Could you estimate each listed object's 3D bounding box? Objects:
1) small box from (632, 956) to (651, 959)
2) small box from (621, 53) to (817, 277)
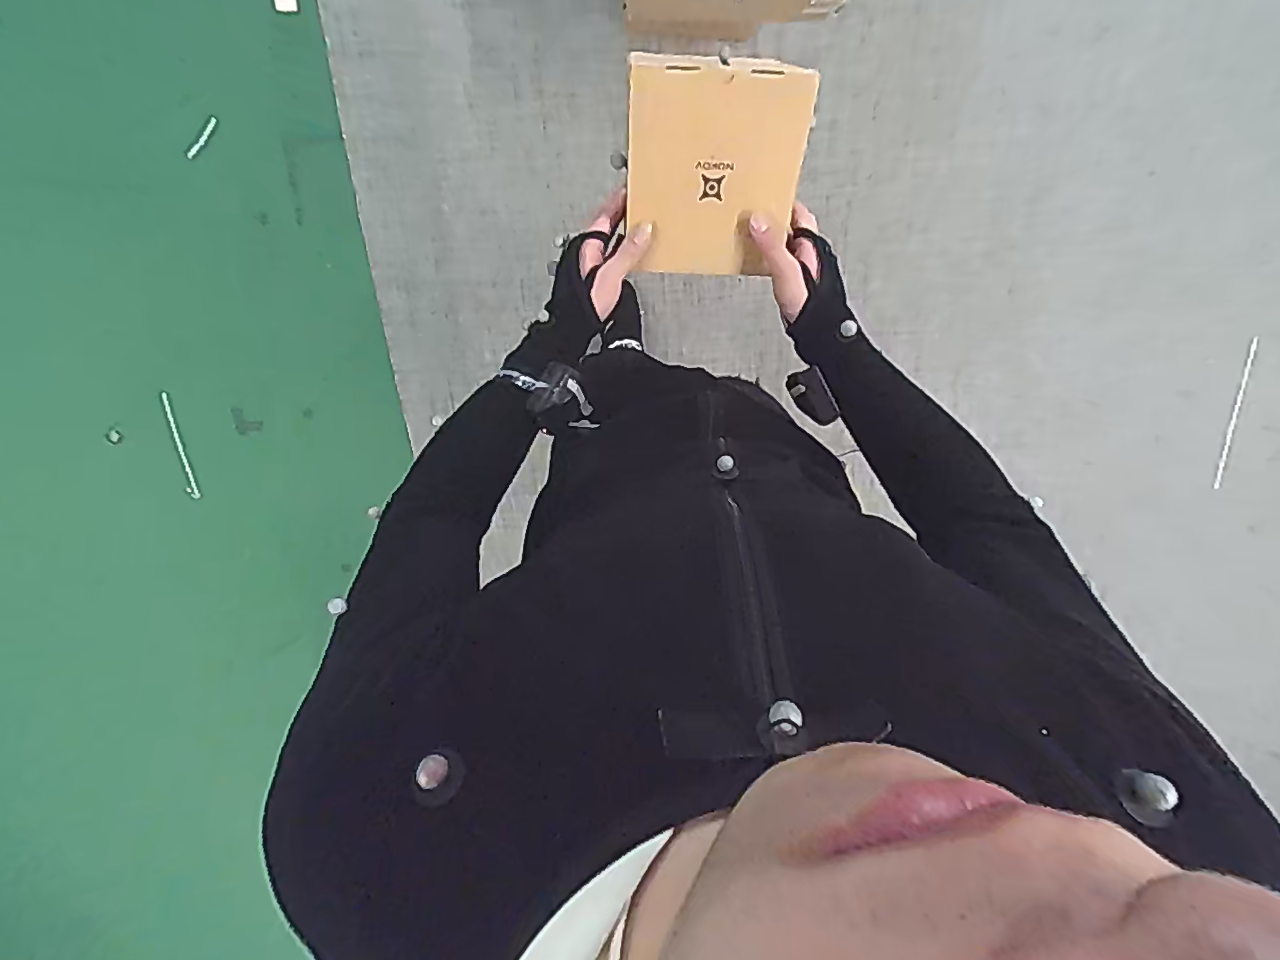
[{"bbox_3d":[-0.005,1.200,1.185,0.168,0.176,0.179,-40,105,9],"label":"small box"},{"bbox_3d":[0.066,-0.333,0.570,0.168,0.176,0.179,1,129,-2],"label":"small box"}]
